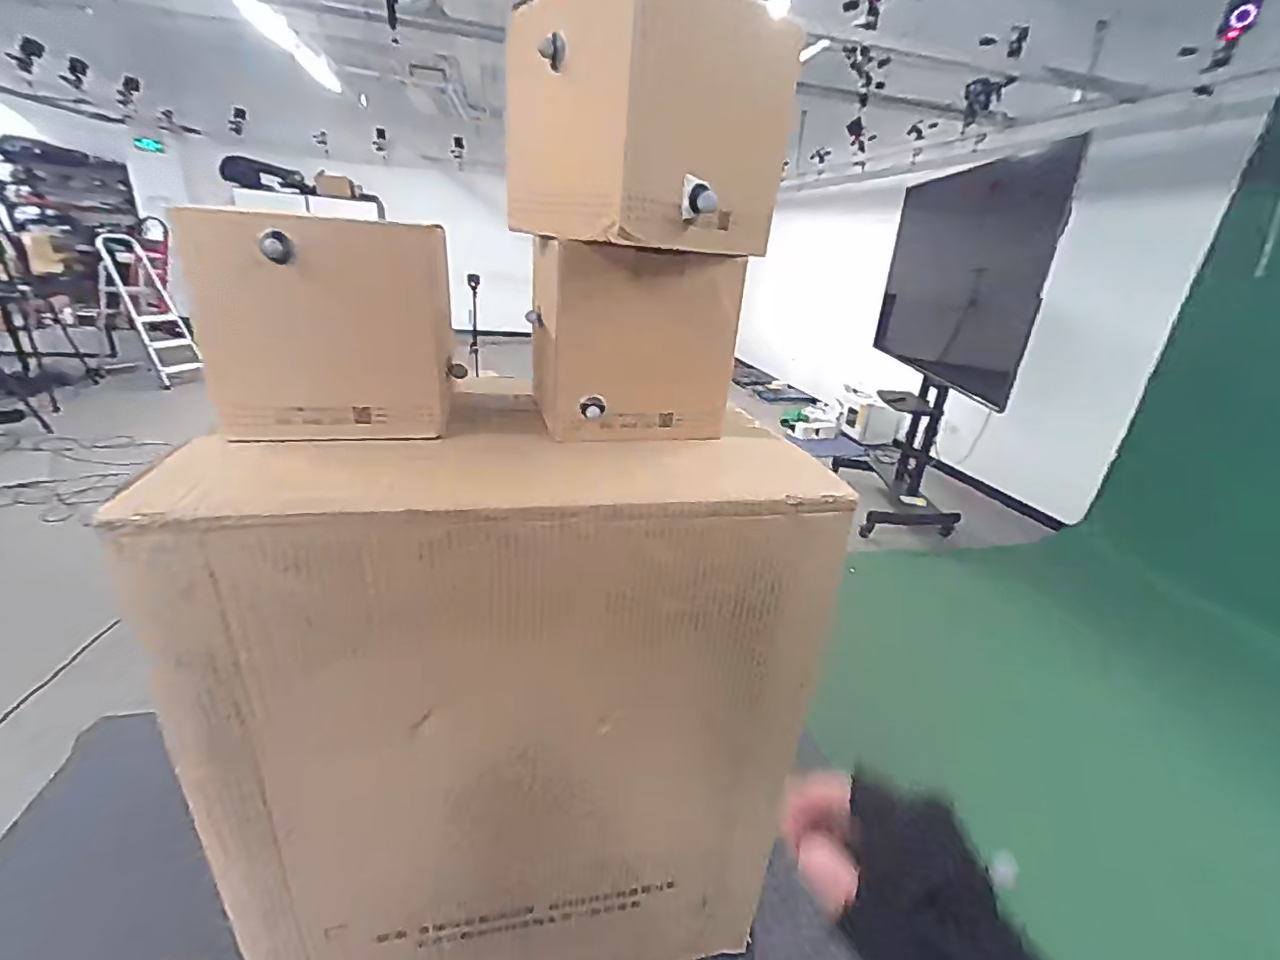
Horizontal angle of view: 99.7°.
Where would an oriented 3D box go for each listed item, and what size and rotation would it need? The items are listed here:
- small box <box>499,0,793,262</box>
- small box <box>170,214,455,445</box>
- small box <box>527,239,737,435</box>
[{"bbox_3d":[-0.005,-0.283,0.454,0.168,0.176,0.179,-17,33,-36],"label":"small box"},{"bbox_3d":[-0.263,-0.136,0.487,0.168,0.176,0.179,-3,24,-13],"label":"small box"},{"bbox_3d":[-0.020,-0.147,0.544,0.168,0.176,0.179,-3,25,-17],"label":"small box"}]
